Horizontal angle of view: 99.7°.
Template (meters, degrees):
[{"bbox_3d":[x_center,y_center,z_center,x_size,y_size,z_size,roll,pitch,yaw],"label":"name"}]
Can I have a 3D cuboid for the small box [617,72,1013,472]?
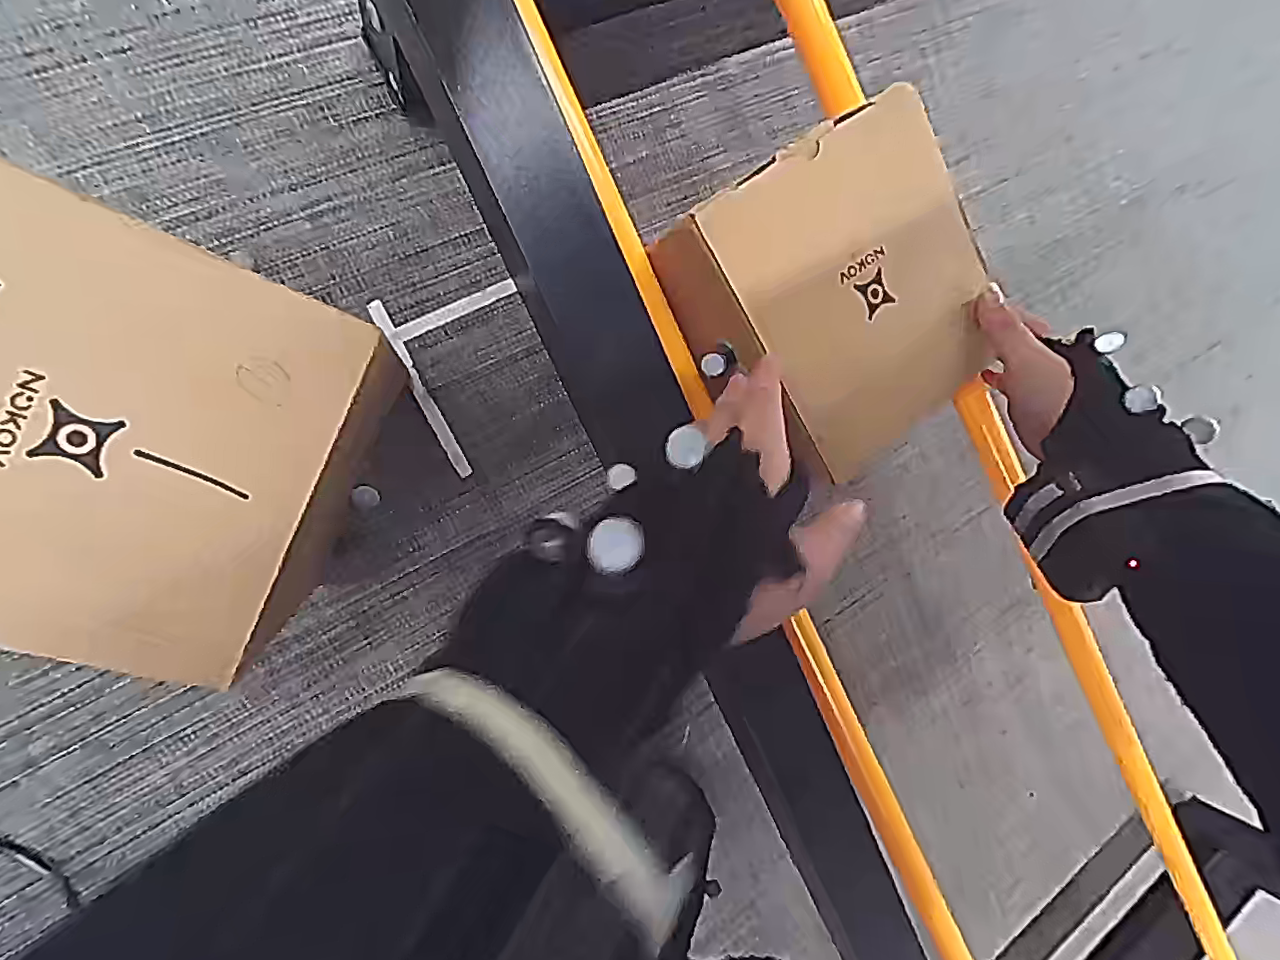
[{"bbox_3d":[0.110,-0.127,0.389,0.168,0.176,0.179,-36,105,-13],"label":"small box"}]
